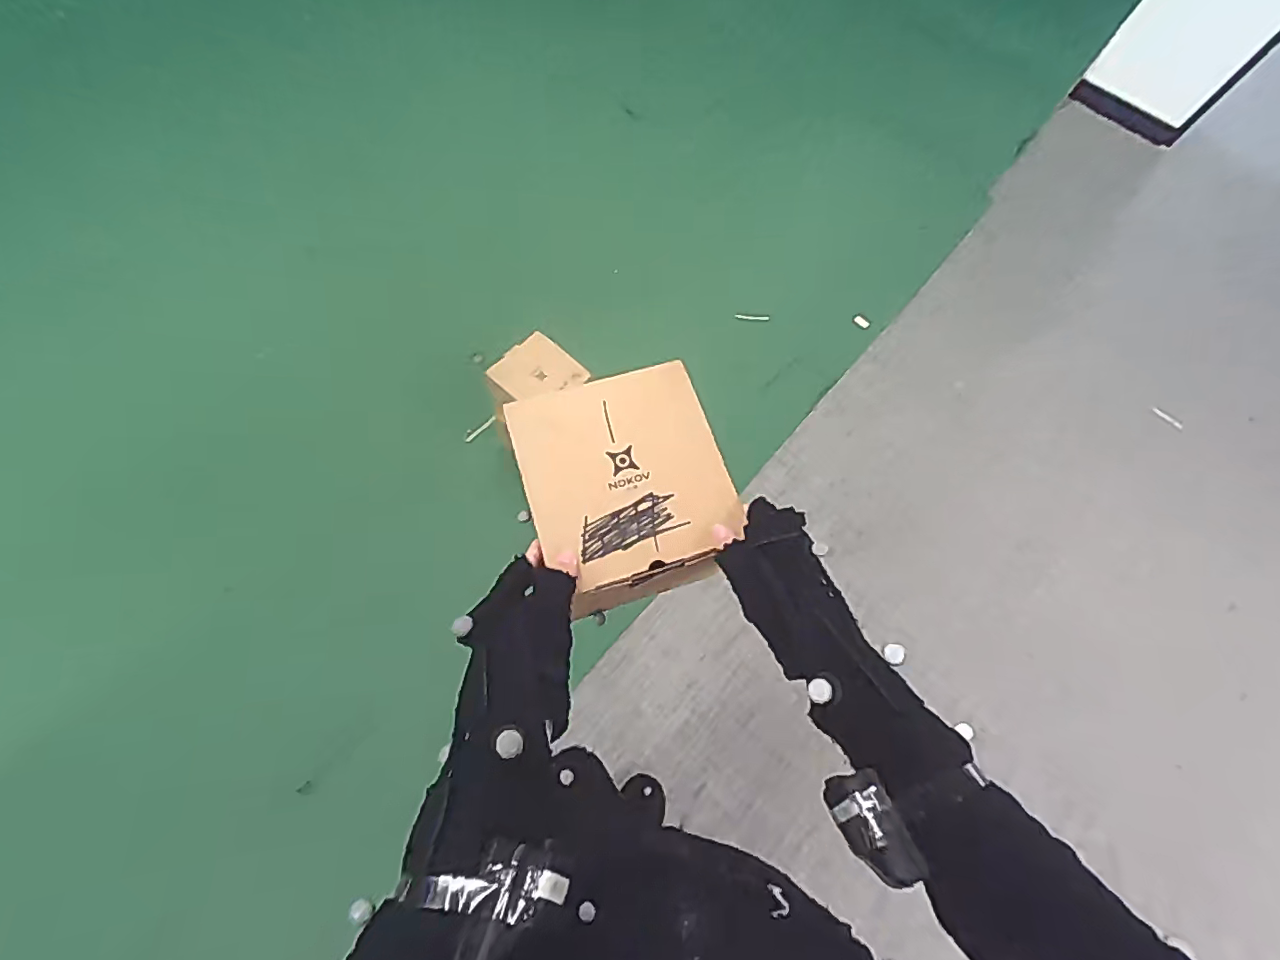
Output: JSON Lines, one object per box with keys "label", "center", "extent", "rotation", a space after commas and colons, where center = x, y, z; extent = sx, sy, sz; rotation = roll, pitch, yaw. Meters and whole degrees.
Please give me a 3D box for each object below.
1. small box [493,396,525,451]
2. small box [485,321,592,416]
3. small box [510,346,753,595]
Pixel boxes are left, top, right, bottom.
{"label": "small box", "center": [-0.249, -0.161, 1.393], "extent": [0.179, 0.176, 0.168], "rotation": [44, 72, 11]}
{"label": "small box", "center": [-0.231, -0.225, 1.263], "extent": [0.179, 0.176, 0.168], "rotation": [41, 70, 11]}
{"label": "small box", "center": [-0.014, 0.004, 0.523], "extent": [0.168, 0.176, 0.179], "rotation": [-16, 72, -10]}
